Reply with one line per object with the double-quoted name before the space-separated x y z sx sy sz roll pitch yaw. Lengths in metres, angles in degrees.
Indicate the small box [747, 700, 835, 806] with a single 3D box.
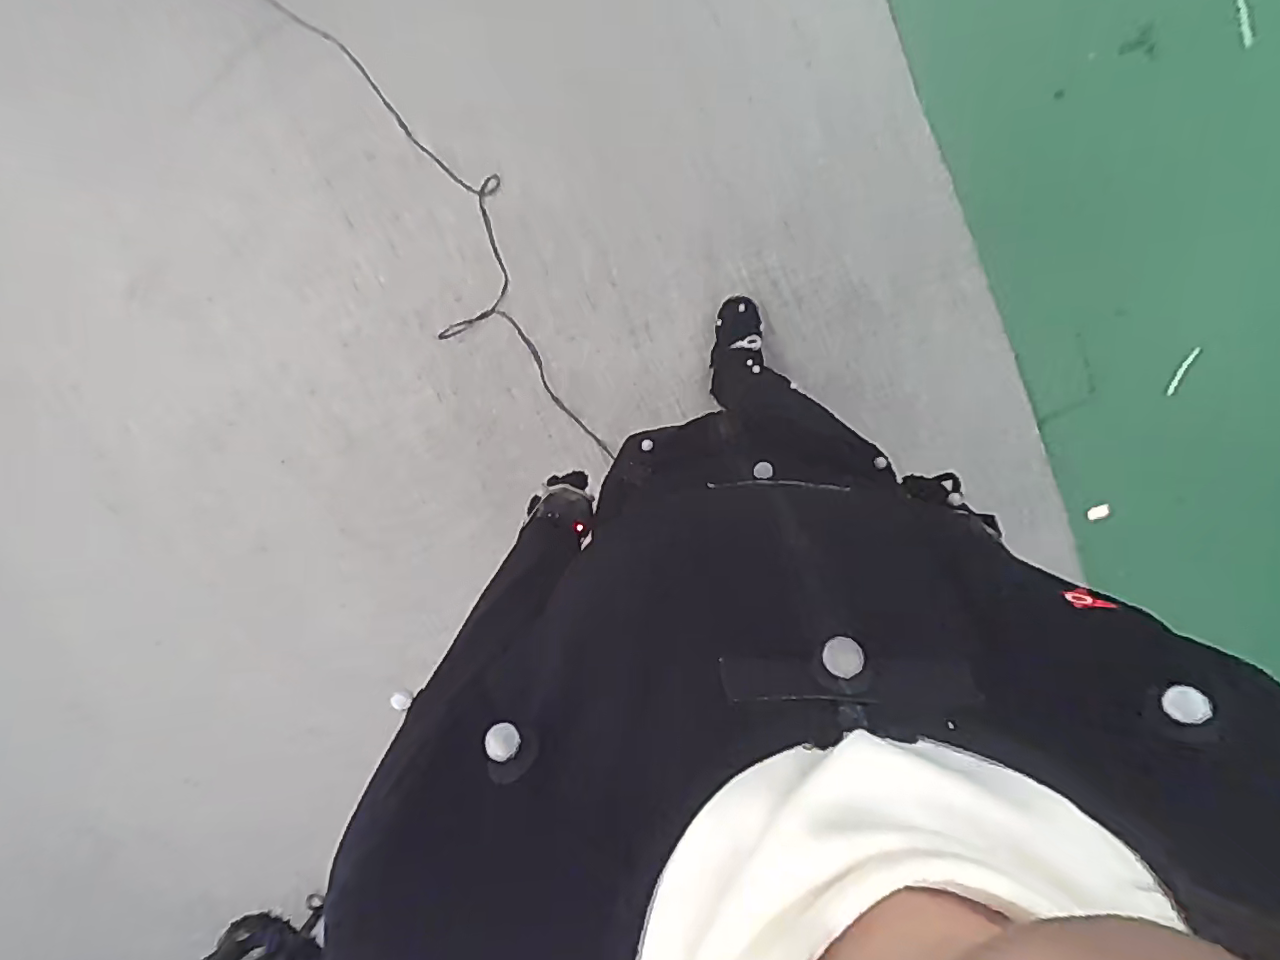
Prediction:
"small box" 0.393 0.724 1.448 0.179 0.176 0.168 -19 99 5
